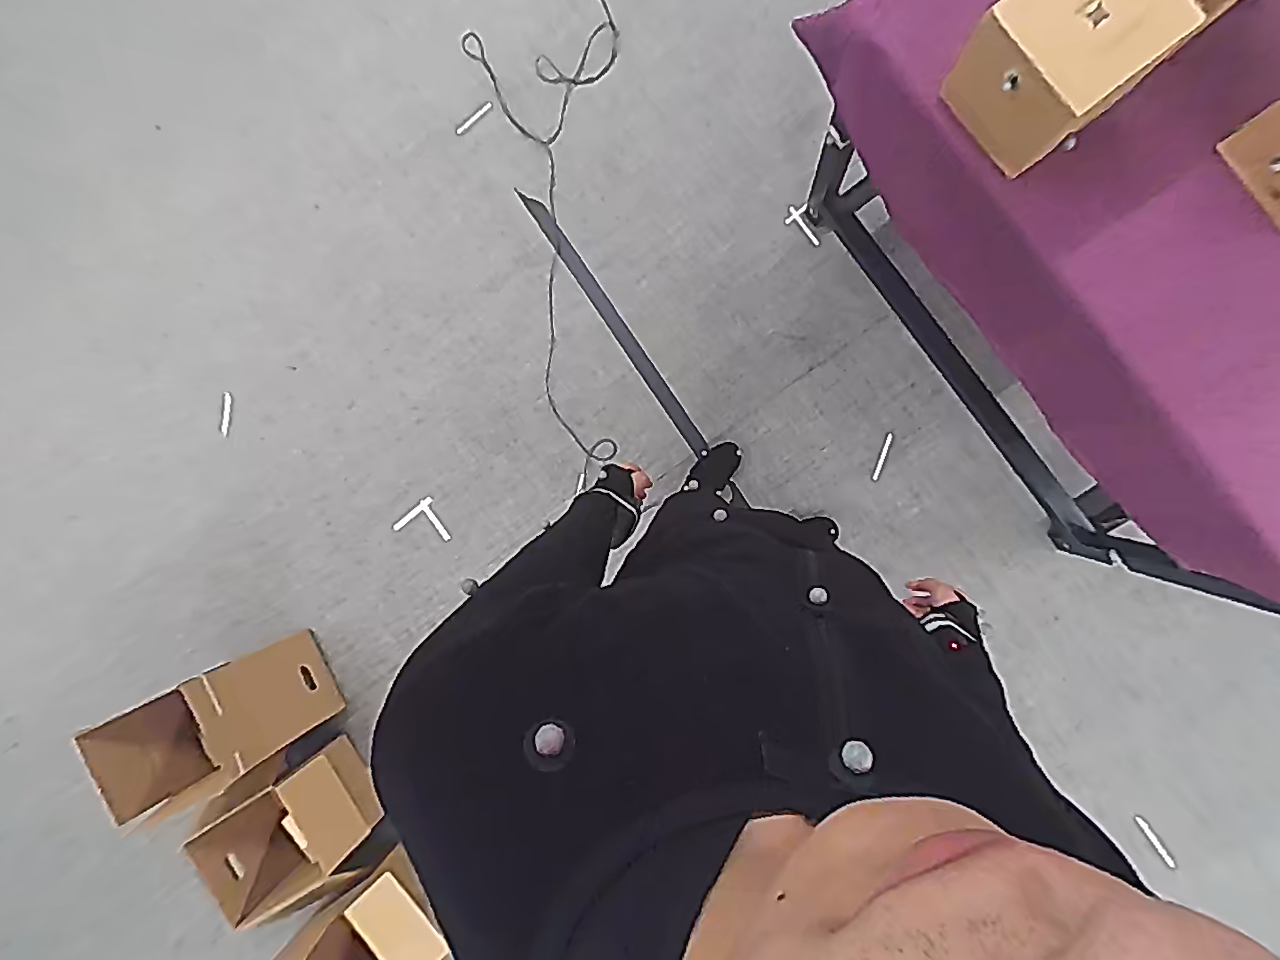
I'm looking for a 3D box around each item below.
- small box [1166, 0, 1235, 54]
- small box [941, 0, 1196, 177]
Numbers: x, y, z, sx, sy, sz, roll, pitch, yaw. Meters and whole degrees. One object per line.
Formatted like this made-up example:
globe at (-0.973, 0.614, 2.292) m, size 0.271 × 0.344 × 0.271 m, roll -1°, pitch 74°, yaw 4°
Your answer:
small box at (0.733, -0.711, 0.688) m, size 0.168 × 0.176 × 0.179 m, roll -39°, pitch 87°, yaw 10°
small box at (0.549, -0.558, 0.727) m, size 0.168 × 0.176 × 0.179 m, roll -37°, pitch 87°, yaw 10°
